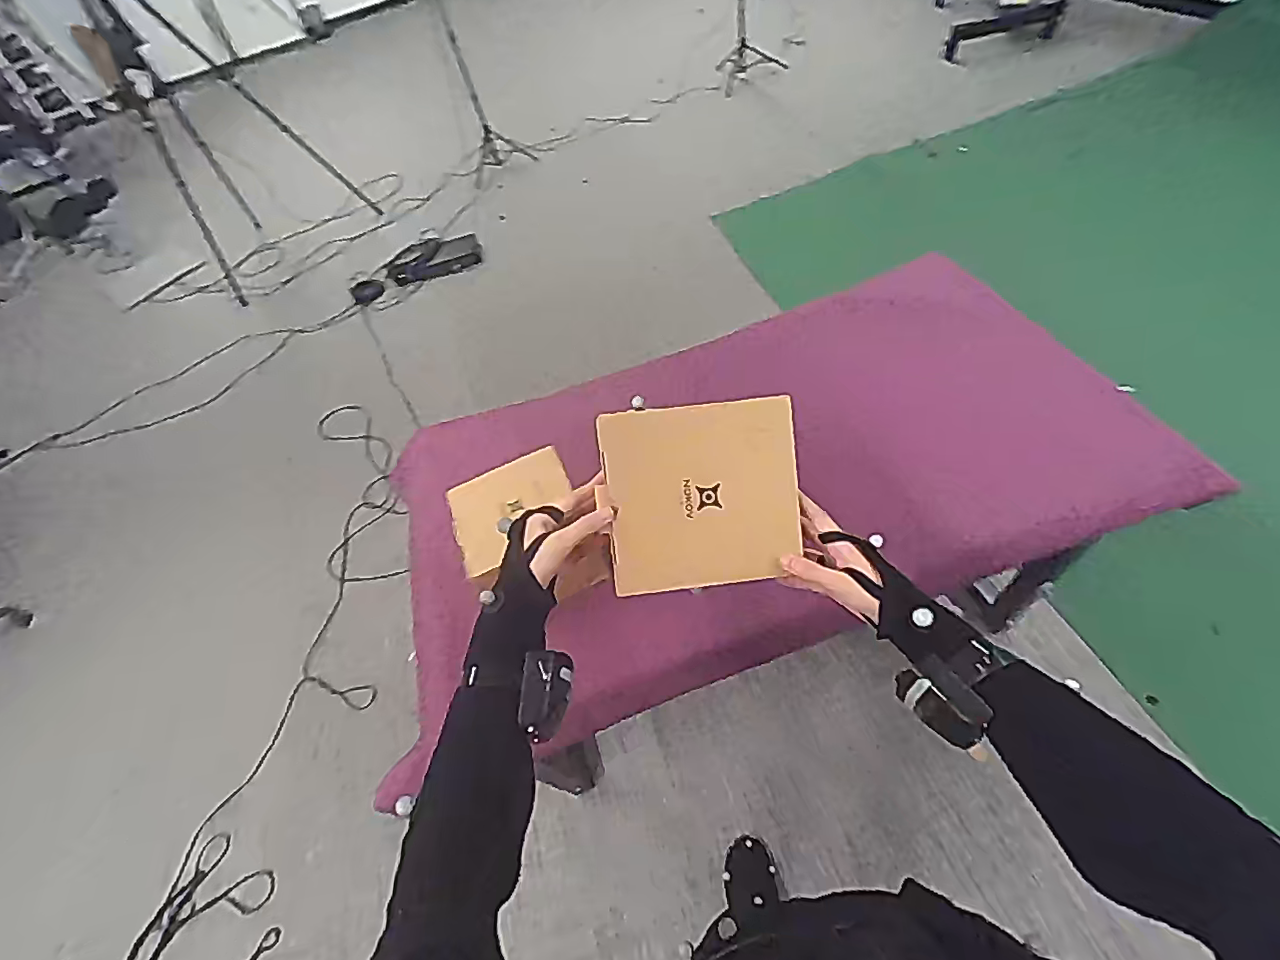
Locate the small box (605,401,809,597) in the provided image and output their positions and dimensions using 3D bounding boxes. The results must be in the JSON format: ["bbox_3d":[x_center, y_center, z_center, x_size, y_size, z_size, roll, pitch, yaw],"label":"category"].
[{"bbox_3d":[0.057,0.008,0.558,0.179,0.176,0.168,-6,96,-2],"label":"small box"}]

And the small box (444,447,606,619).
[{"bbox_3d":[-0.173,0.087,0.834,0.179,0.176,0.168,-24,54,-6],"label":"small box"}]
